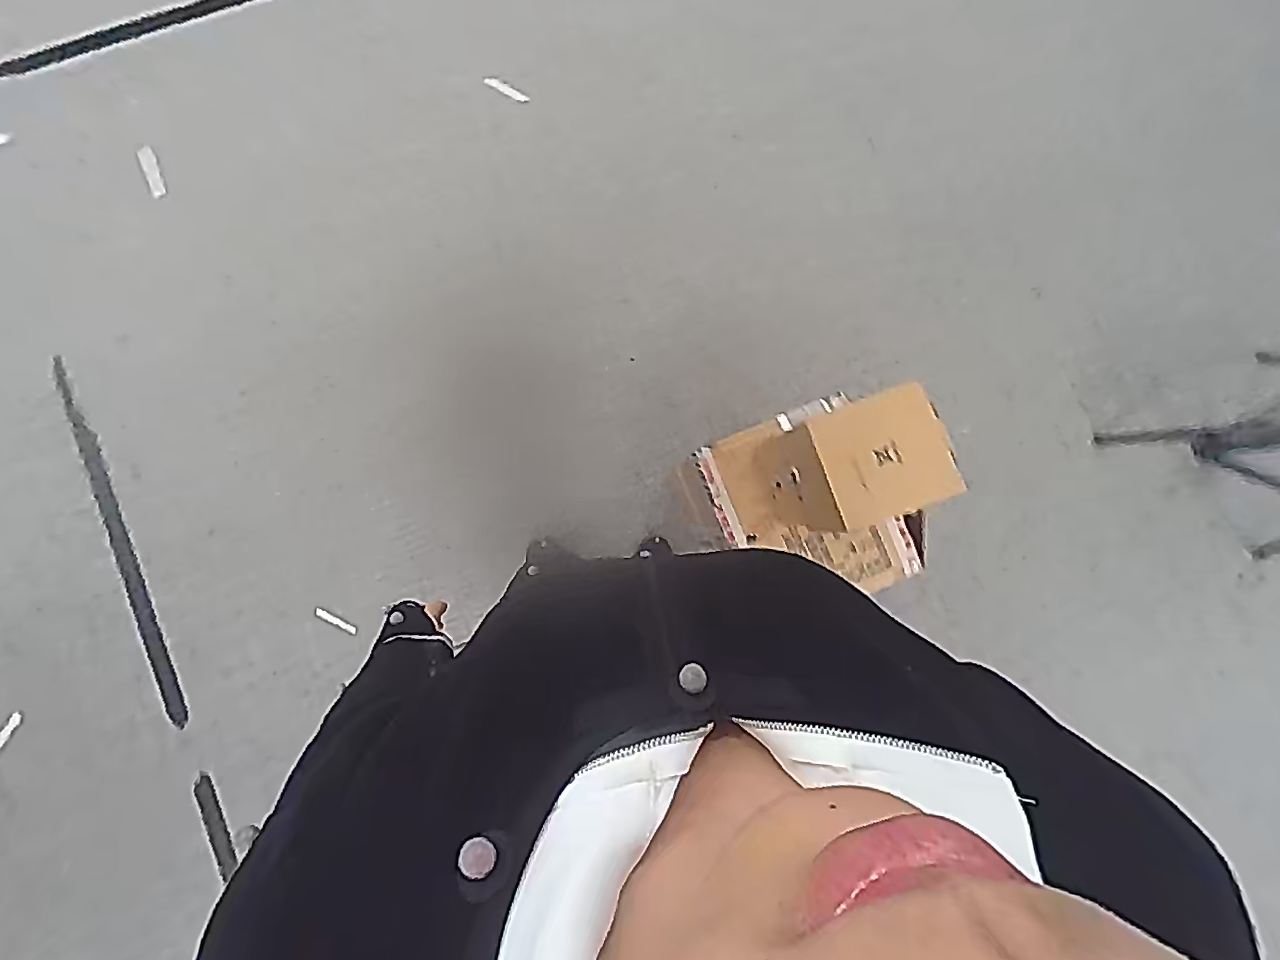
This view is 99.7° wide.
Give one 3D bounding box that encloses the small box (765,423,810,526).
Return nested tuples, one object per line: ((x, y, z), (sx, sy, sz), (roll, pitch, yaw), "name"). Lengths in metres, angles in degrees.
((0.334, -0.019, 0.963), (0.179, 0.176, 0.168), (-19, 85, -1), "small box")

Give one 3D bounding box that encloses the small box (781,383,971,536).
((0.333, -0.022, 0.799), (0.179, 0.176, 0.168), (-19, 84, -1), "small box")
